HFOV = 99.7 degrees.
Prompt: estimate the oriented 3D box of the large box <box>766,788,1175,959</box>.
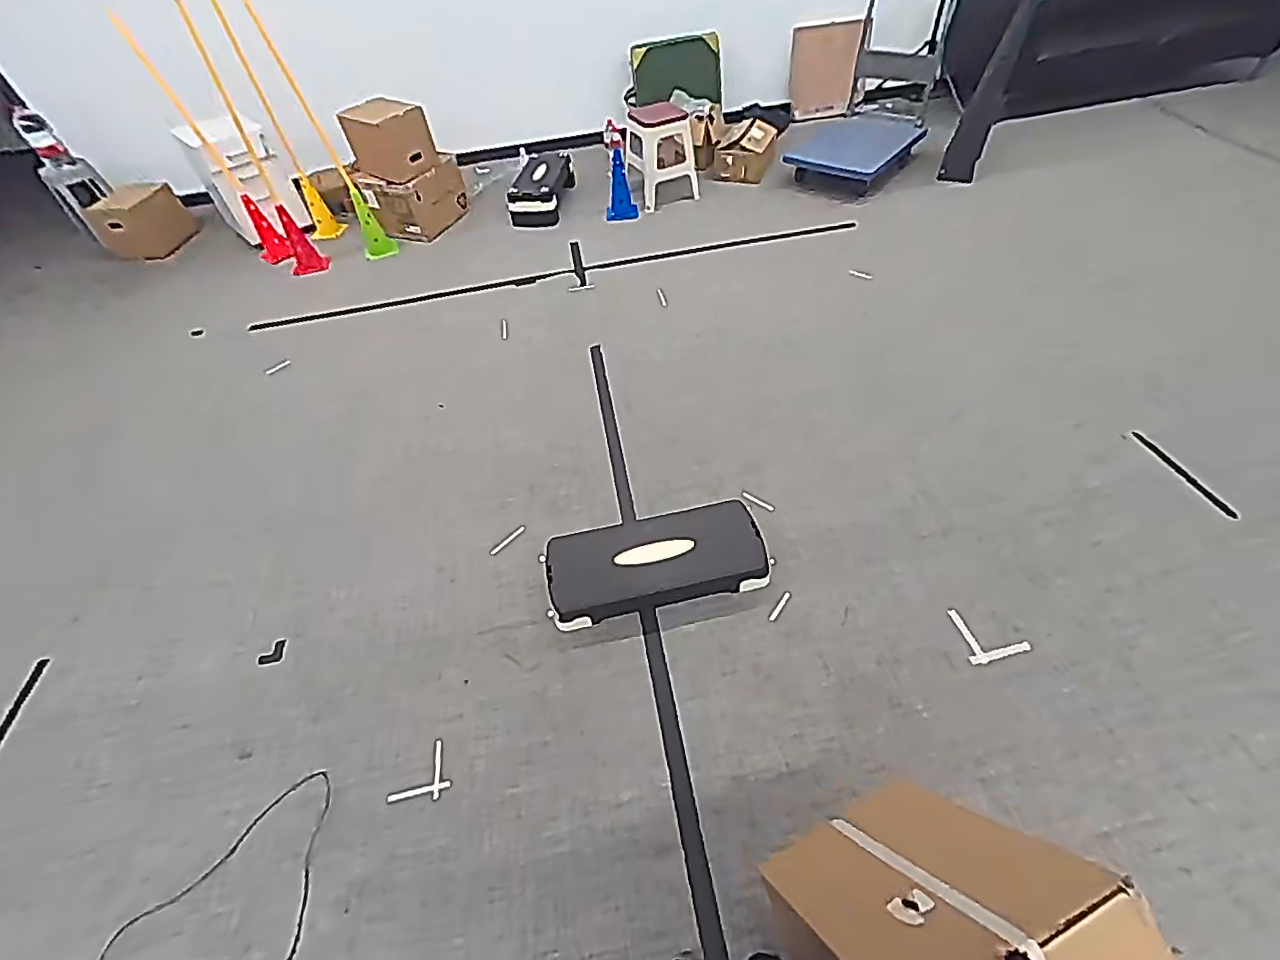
[{"bbox_3d":[0.432,0.683,0.721,0.320,0.408,0.320,-19,79,-14],"label":"large box"}]
